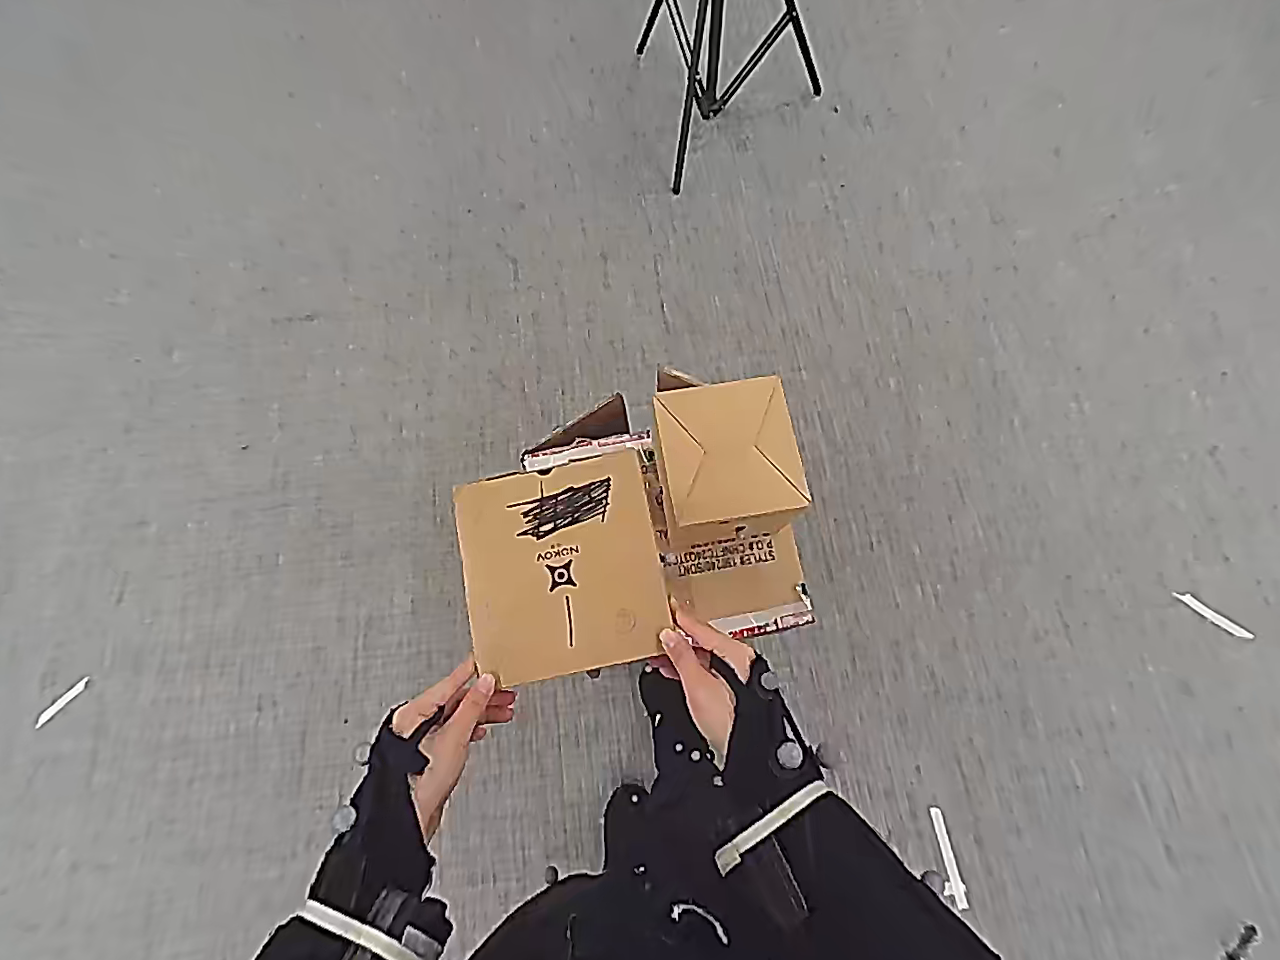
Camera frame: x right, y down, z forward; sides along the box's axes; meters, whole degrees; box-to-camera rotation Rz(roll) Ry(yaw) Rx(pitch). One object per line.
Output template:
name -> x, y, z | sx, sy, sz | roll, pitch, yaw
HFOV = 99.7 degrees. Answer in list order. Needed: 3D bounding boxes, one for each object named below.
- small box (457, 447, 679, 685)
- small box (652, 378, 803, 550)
small box -> -0.062, 0.087, 0.531 | 0.168, 0.176, 0.179 | -12, 77, 0
small box -> 0.110, -0.015, 0.739 | 0.168, 0.176, 0.179 | -9, 74, -2
